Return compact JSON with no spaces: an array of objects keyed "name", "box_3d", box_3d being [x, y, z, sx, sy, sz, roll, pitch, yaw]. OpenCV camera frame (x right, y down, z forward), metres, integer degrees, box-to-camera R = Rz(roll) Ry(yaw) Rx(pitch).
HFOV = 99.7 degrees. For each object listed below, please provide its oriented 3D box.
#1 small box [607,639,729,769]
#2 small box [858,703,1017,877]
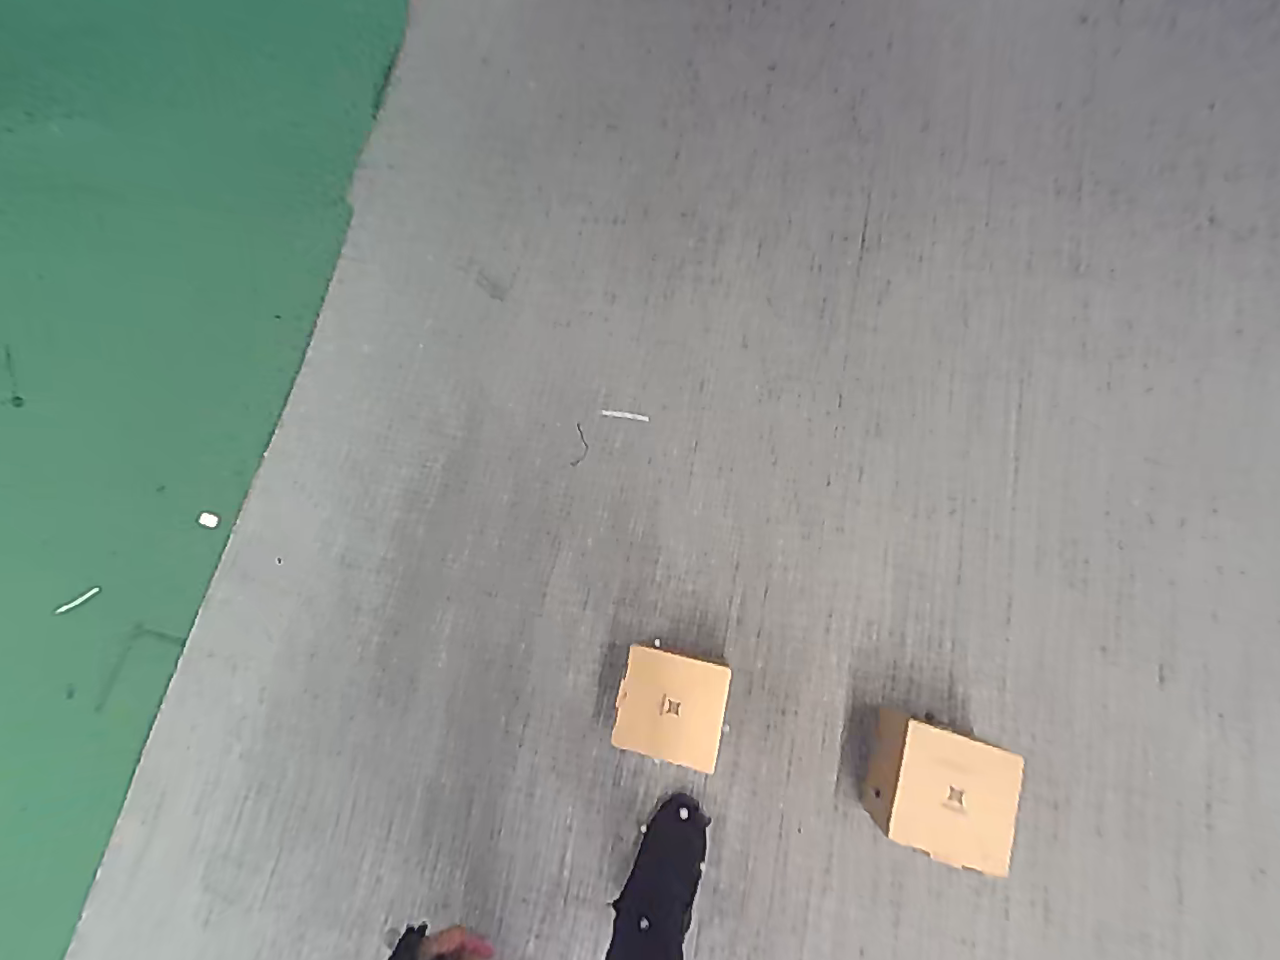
[{"name":"small box","box_3d":[0.057,0.384,0.963,0.179,0.176,0.168,10,77,12]},{"name":"small box","box_3d":[0.467,0.483,0.875,0.168,0.176,0.179,15,77,11]}]
